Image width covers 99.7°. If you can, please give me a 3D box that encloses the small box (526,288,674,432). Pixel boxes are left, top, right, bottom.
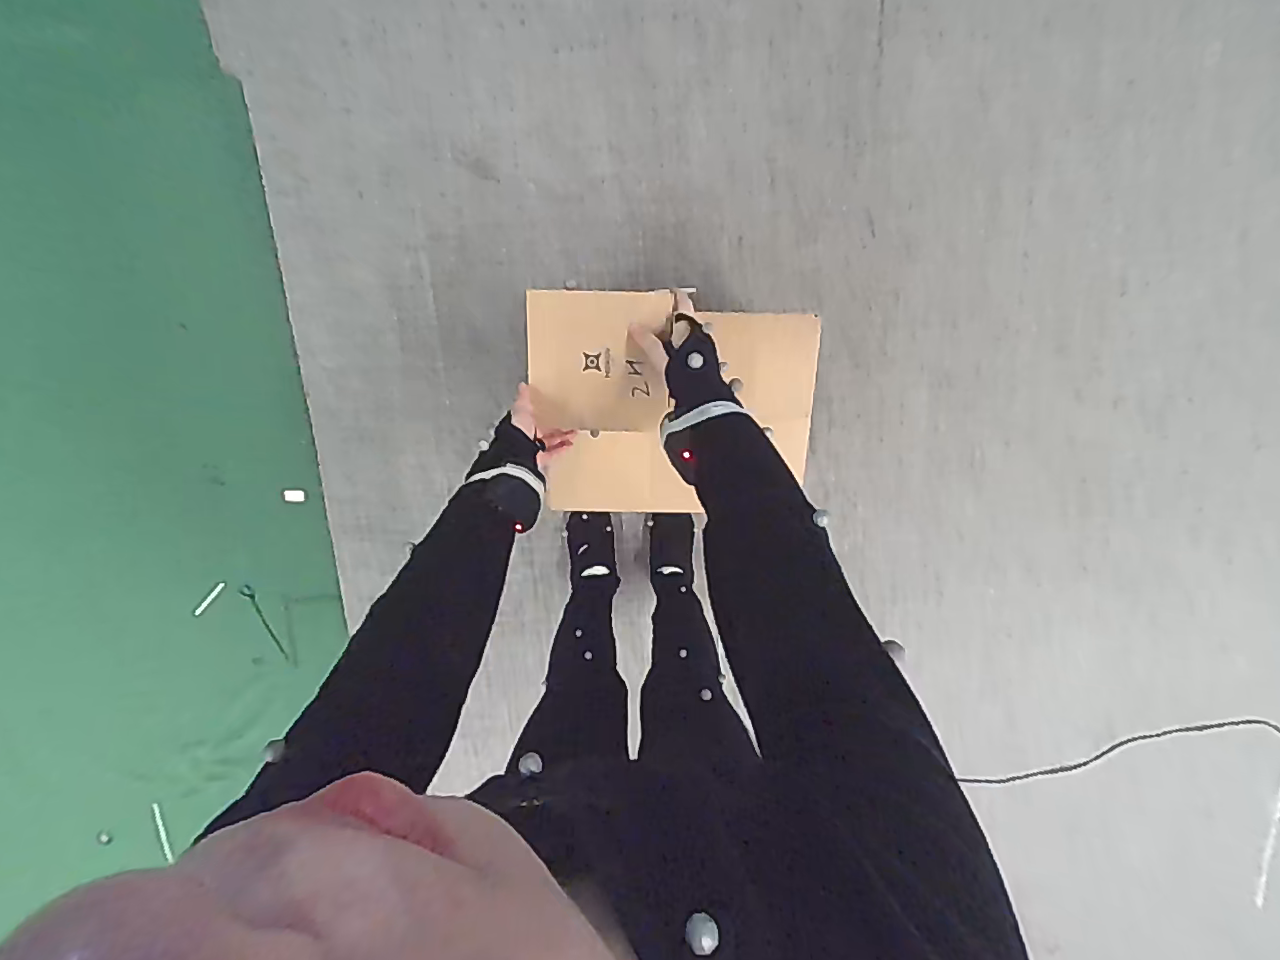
[{"bbox_3d":[-0.046,-0.161,0.726,0.179,0.176,0.168,2,105,2],"label":"small box"}]
